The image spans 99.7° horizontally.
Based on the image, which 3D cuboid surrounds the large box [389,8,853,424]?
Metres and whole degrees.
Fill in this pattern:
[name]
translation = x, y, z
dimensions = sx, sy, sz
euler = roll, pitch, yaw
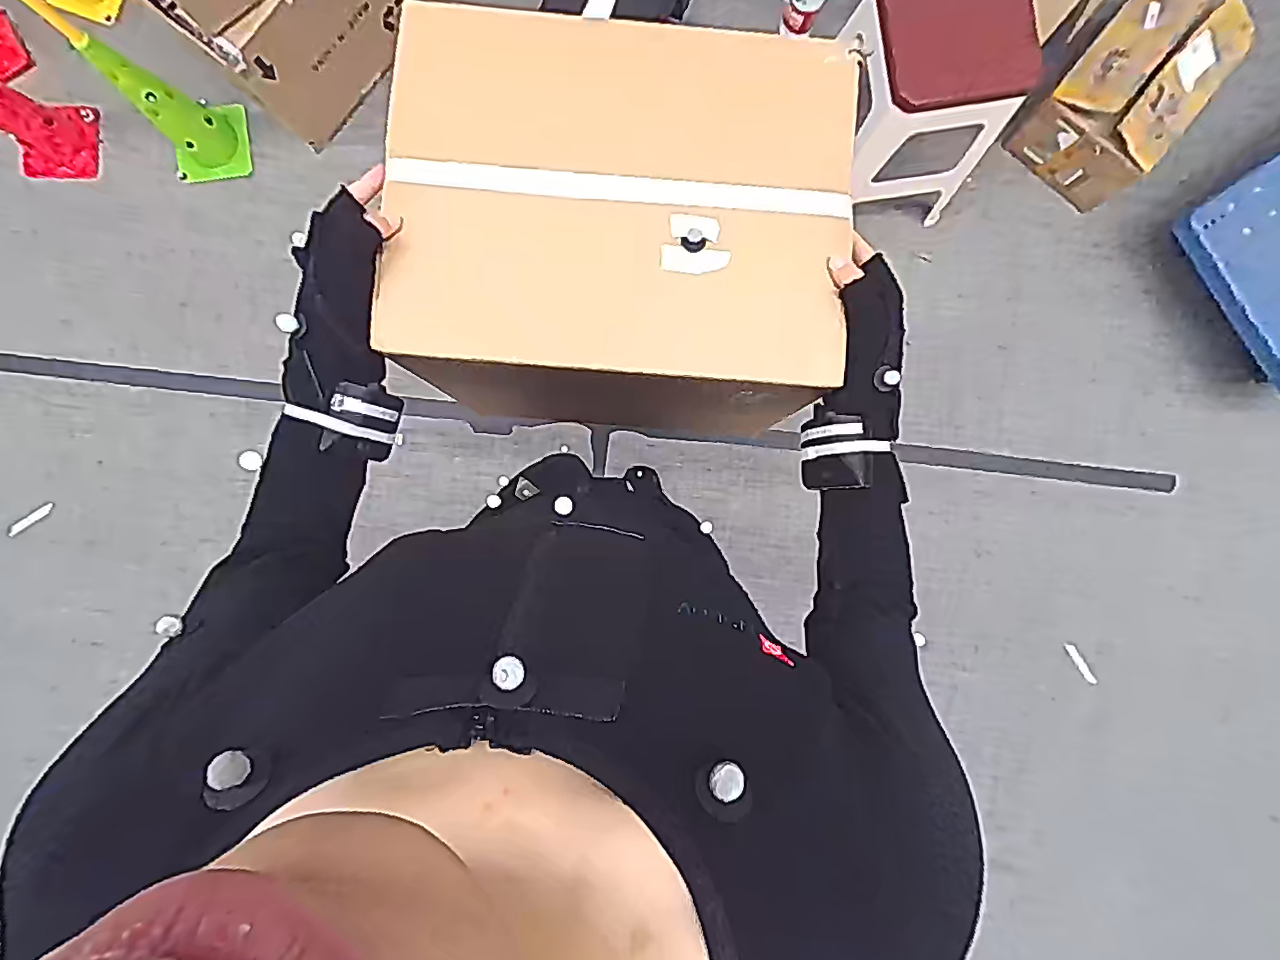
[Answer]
[large box]
translation = -0.017, -0.252, 0.627
dimensions = 0.408, 0.320, 0.320
euler = 4, 87, -1
